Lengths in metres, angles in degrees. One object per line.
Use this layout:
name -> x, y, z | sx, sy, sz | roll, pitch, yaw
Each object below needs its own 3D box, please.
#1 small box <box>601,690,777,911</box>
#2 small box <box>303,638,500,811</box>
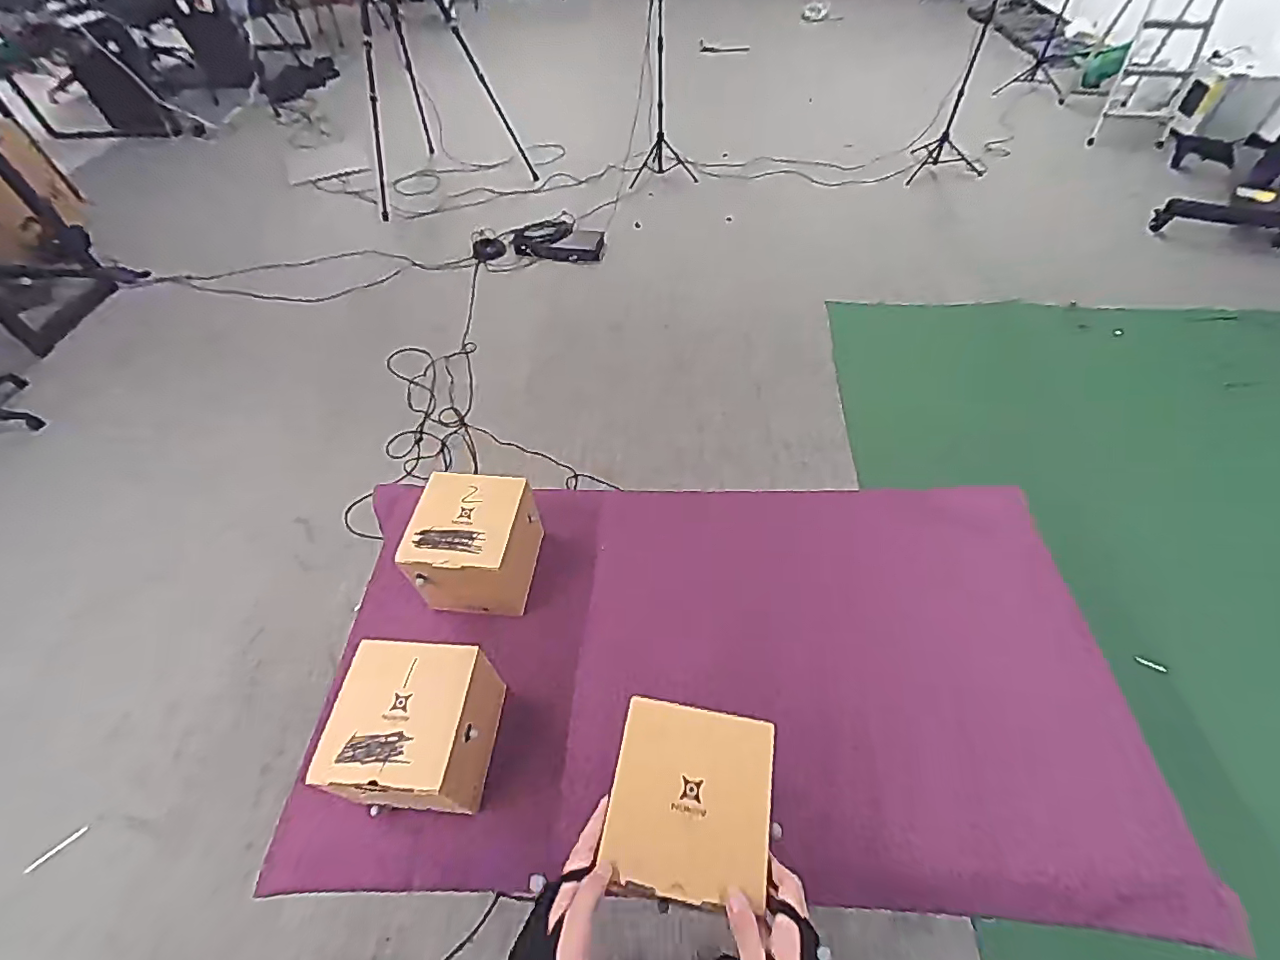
small box -> 0.057, 0.371, 0.627 | 0.168, 0.176, 0.179 | 8, 53, 8
small box -> -0.300, 0.334, 0.731 | 0.168, 0.176, 0.179 | 3, 51, 4
